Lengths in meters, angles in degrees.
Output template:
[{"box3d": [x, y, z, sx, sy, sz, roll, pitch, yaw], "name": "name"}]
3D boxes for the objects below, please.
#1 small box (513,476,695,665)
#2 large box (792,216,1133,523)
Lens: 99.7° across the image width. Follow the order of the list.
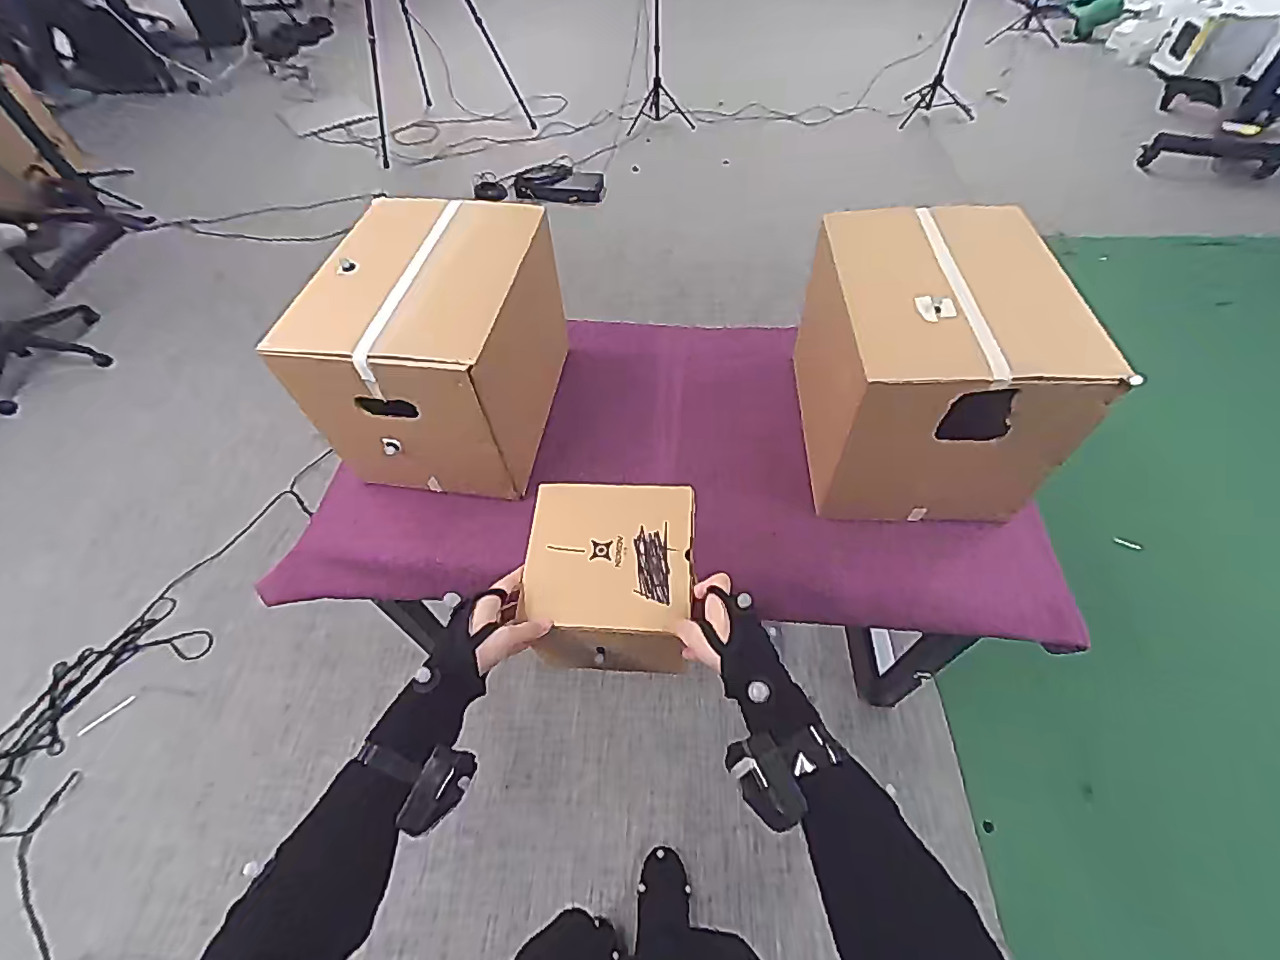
[{"box3d": [-0.029, 0.111, 0.633, 0.179, 0.176, 0.168, 2, 57, 5], "name": "small box"}, {"box3d": [0.451, -0.179, 0.886, 0.320, 0.320, 0.408, 0, 54, 6], "name": "large box"}]
